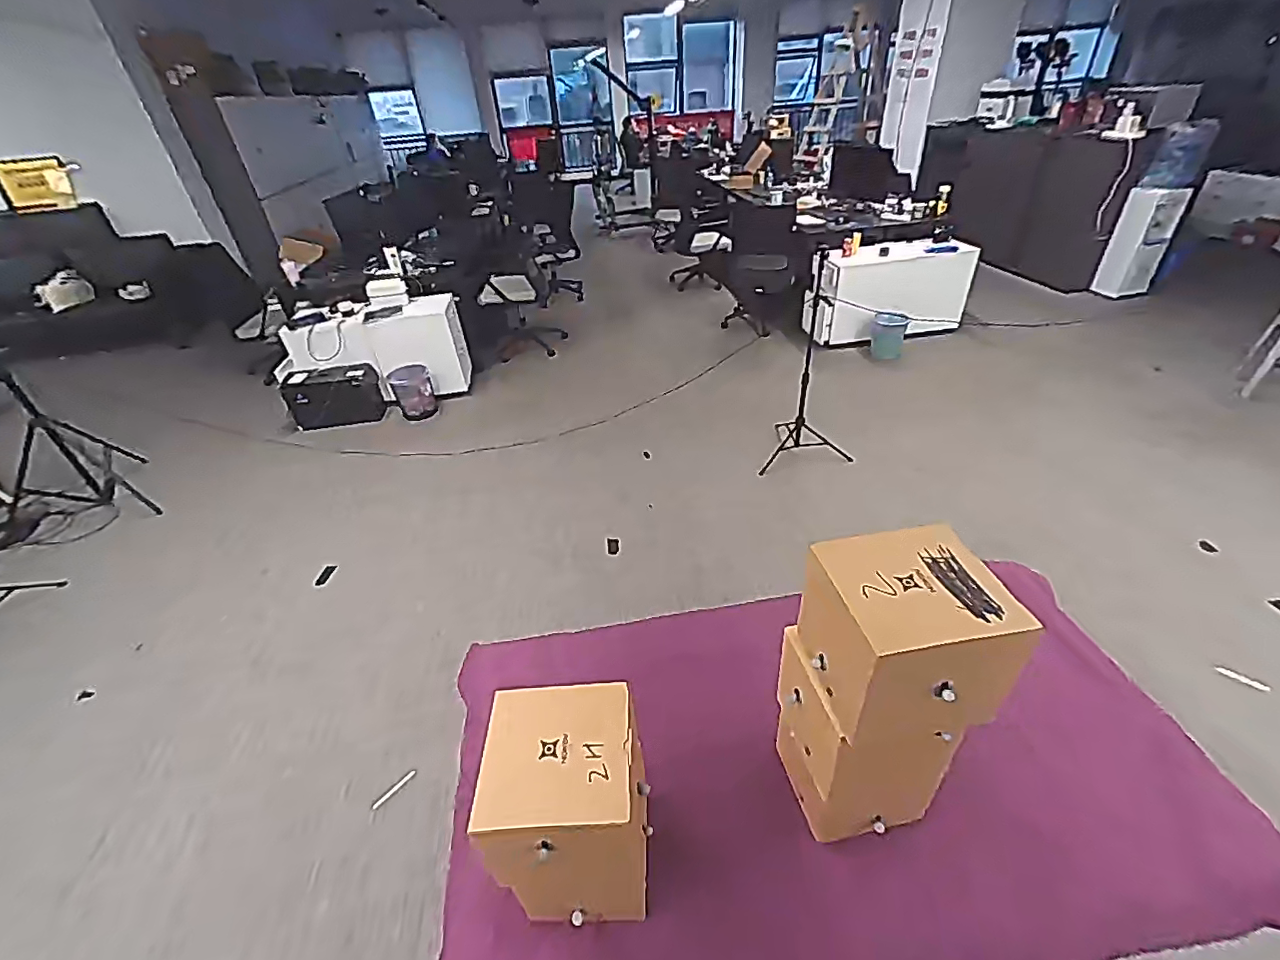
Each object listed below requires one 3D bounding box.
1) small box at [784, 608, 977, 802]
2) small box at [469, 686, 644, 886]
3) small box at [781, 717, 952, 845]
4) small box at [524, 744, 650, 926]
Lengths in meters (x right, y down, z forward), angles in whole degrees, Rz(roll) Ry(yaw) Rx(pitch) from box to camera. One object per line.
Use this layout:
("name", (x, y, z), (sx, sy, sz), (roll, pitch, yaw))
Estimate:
("small box", (0.306, 0.306, 0.735), (0.179, 0.176, 0.168), (-9, 35, -6))
("small box", (-0.089, 0.381, 0.673), (0.179, 0.176, 0.168), (-3, 37, 2))
("small box", (0.335, 0.429, 0.840), (0.179, 0.176, 0.168), (-9, 35, -7))
("small box", (-0.073, 0.506, 0.779), (0.168, 0.176, 0.179), (-2, 37, 3))
